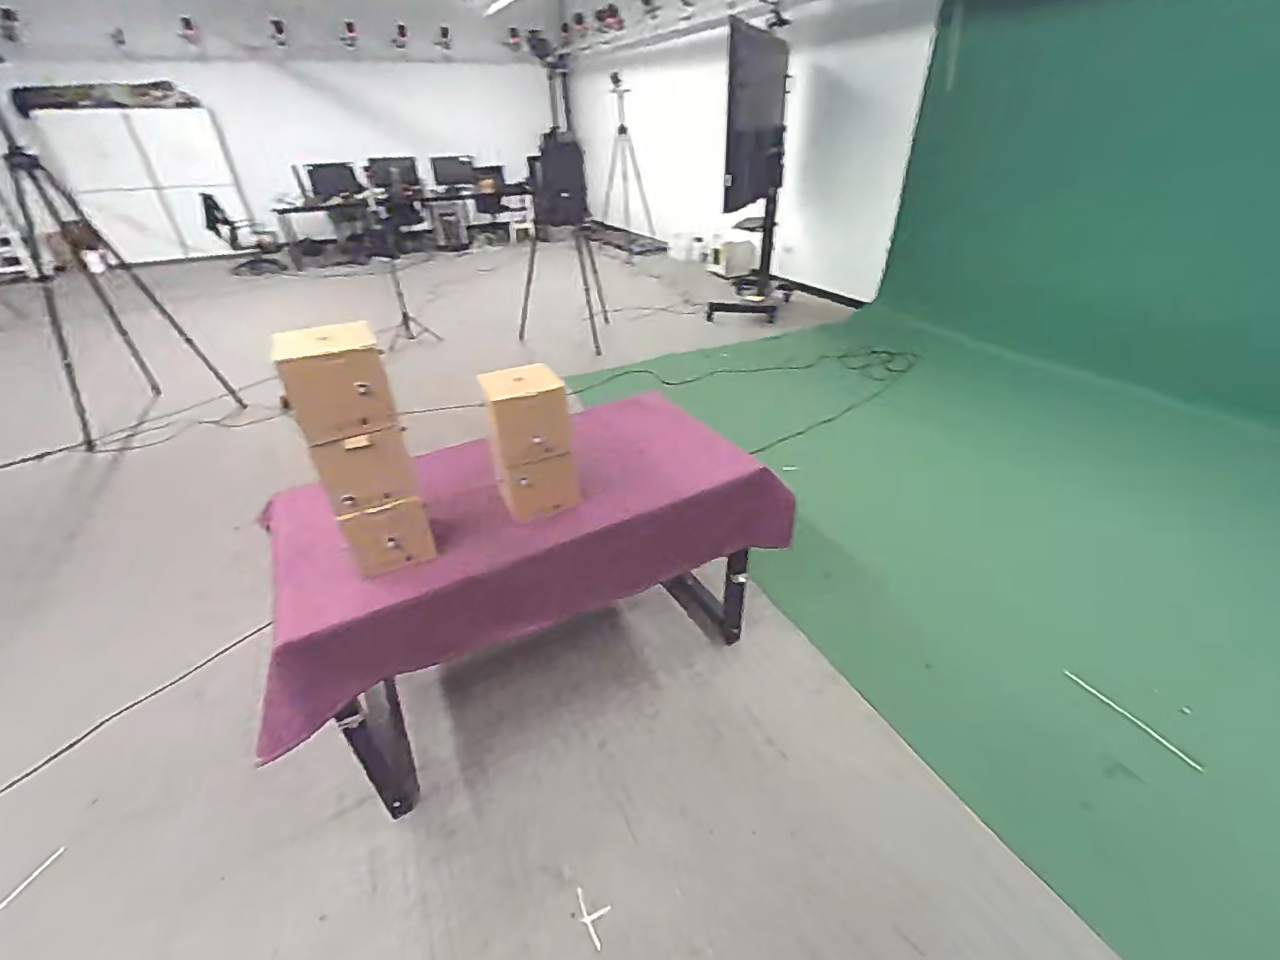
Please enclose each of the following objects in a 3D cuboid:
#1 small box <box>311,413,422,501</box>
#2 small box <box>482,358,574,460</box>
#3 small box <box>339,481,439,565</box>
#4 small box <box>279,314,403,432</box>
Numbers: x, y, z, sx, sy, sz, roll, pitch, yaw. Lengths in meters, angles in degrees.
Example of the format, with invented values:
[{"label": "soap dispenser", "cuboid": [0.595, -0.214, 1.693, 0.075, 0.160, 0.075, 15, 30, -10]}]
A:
[{"label": "small box", "cuboid": [-0.569, -0.071, 1.134, 0.168, 0.176, 0.179, -16, 35, -21]}, {"label": "small box", "cuboid": [-0.262, -0.169, 1.270, 0.168, 0.176, 0.179, -16, 36, -19]}, {"label": "small box", "cuboid": [-0.565, 0.071, 1.220, 0.168, 0.176, 0.179, -16, 37, -22]}, {"label": "small box", "cuboid": [-0.570, -0.205, 1.042, 0.168, 0.176, 0.179, -17, 36, -23]}]
